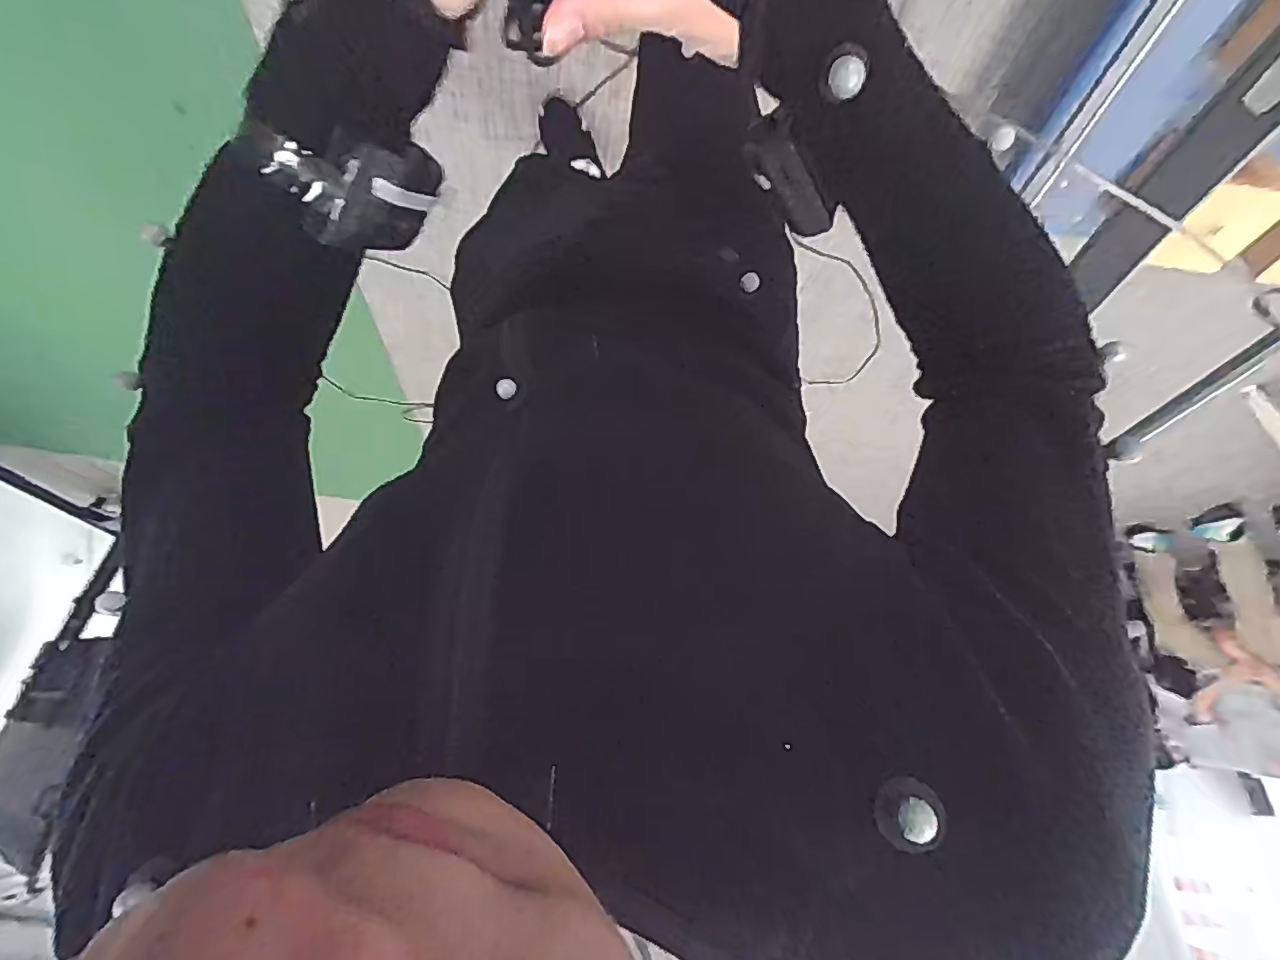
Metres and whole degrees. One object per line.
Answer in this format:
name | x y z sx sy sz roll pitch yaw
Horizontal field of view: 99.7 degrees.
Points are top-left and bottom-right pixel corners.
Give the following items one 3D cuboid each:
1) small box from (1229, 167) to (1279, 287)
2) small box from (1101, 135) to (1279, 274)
small box | 1.299 -0.493 1.042 0.179 0.176 0.168 7 150 3
small box | 1.053 -0.528 1.038 0.179 0.176 0.168 9 151 0
